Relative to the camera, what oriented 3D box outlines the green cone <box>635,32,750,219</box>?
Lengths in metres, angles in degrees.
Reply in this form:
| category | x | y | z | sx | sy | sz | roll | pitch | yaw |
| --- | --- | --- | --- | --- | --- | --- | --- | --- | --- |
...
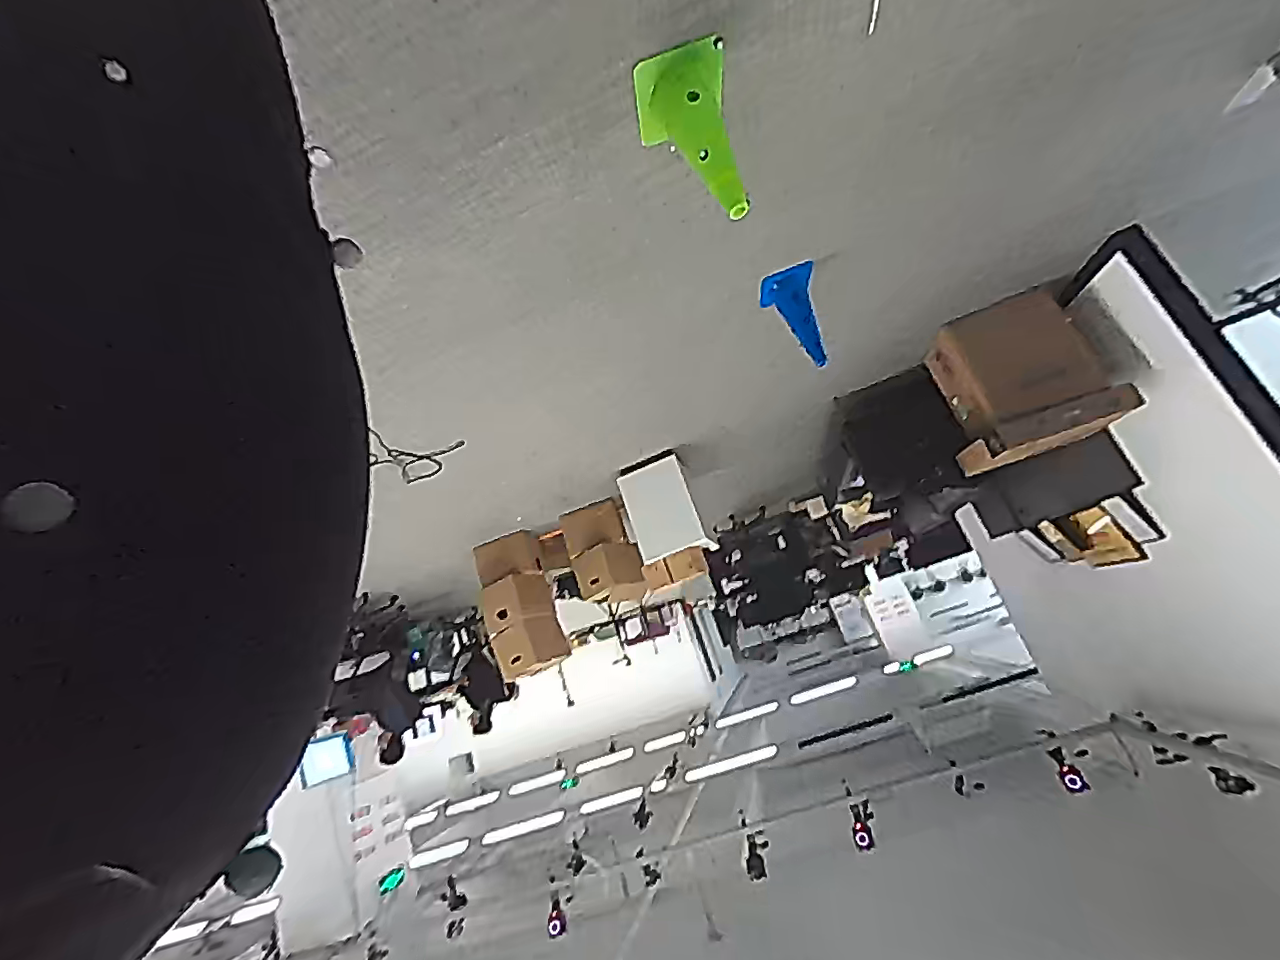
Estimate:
| category | x | y | z | sx | sy | sz | roll | pitch | yaw |
| --- | --- | --- | --- | --- | --- | --- | --- | --- | --- |
| green cone | 0.144 | -0.711 | 1.152 | 0.200 | 0.368 | 0.202 | -20 | 163 | 2 |
